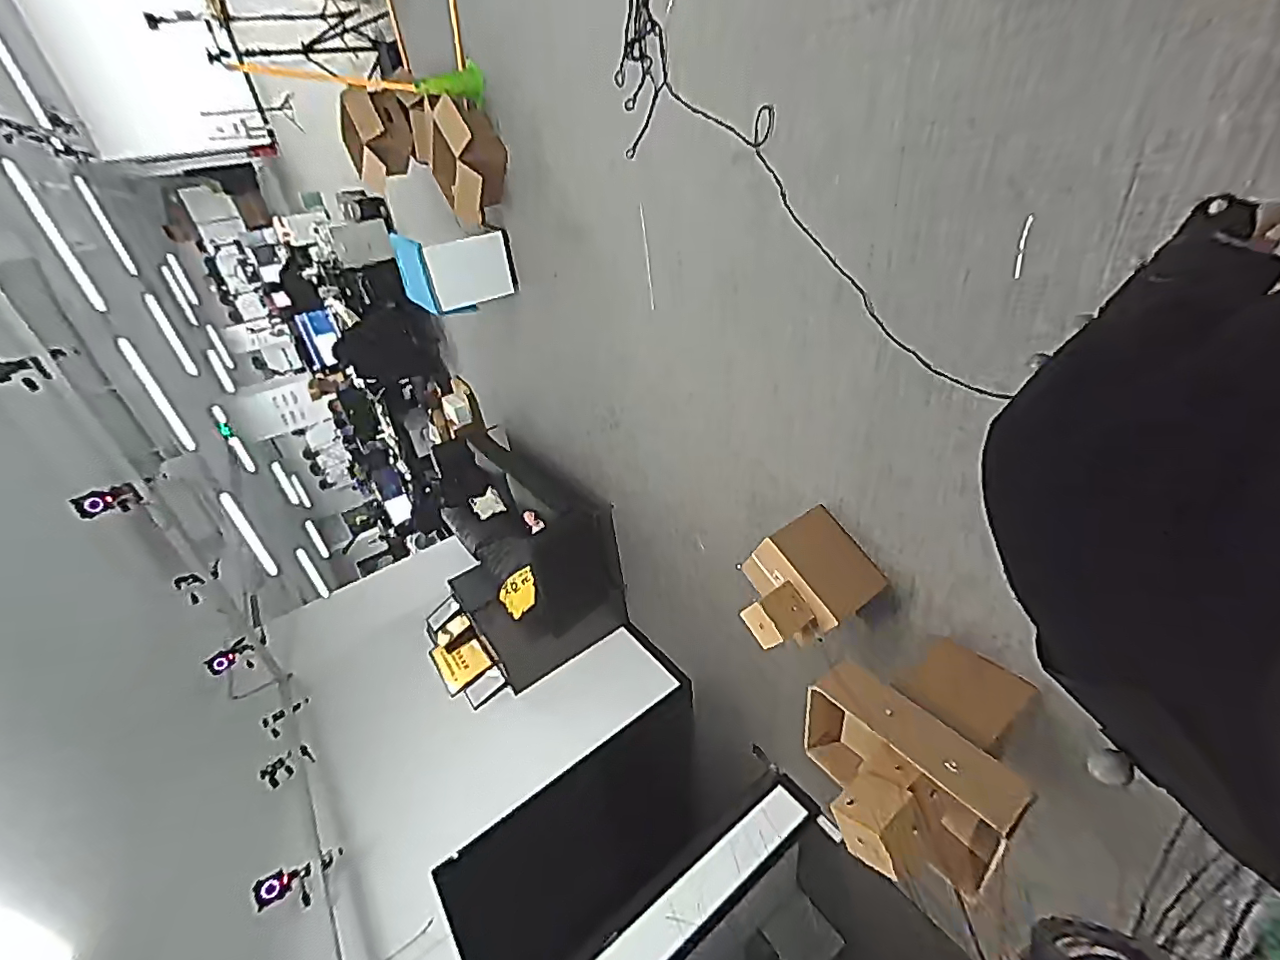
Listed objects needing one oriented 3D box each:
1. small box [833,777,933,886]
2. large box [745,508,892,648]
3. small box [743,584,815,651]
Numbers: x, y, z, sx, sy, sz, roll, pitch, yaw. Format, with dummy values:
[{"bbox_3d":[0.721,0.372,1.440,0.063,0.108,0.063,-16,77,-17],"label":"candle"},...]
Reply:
[{"bbox_3d":[0.702,1.001,1.563,0.179,0.176,0.168,-11,104,62],"label":"small box"},{"bbox_3d":[0.706,0.391,2.176,0.408,0.320,0.320,55,152,21],"label":"large box"},{"bbox_3d":[0.532,0.525,2.061,0.168,0.176,0.179,56,153,17],"label":"small box"}]
